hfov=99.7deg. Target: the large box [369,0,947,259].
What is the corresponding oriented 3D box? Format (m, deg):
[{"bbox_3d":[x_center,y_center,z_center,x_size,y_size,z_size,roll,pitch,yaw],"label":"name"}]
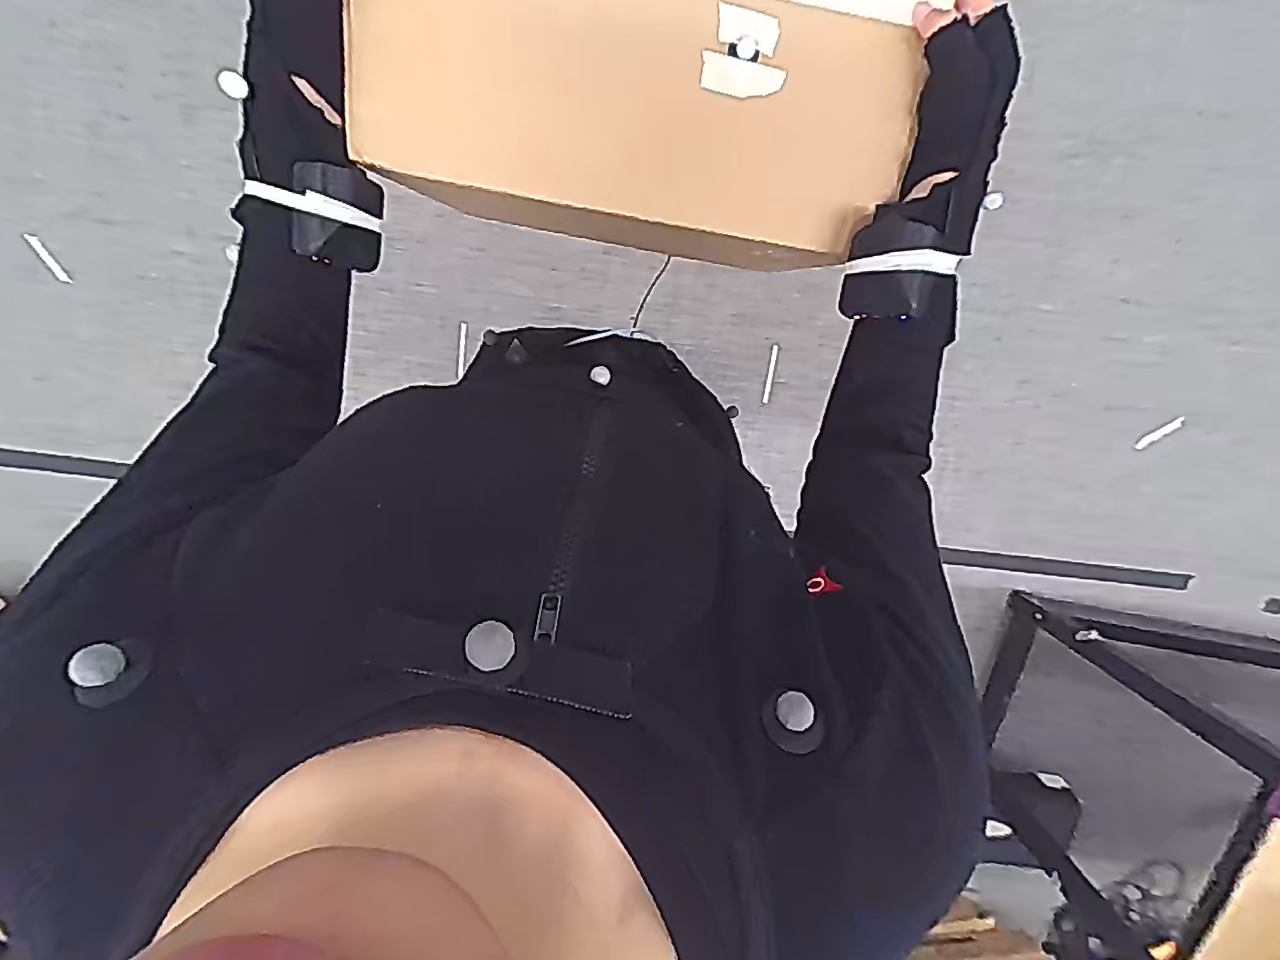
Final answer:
[{"bbox_3d":[0.011,-0.406,0.505,0.408,0.320,0.320,8,110,-6],"label":"large box"}]
